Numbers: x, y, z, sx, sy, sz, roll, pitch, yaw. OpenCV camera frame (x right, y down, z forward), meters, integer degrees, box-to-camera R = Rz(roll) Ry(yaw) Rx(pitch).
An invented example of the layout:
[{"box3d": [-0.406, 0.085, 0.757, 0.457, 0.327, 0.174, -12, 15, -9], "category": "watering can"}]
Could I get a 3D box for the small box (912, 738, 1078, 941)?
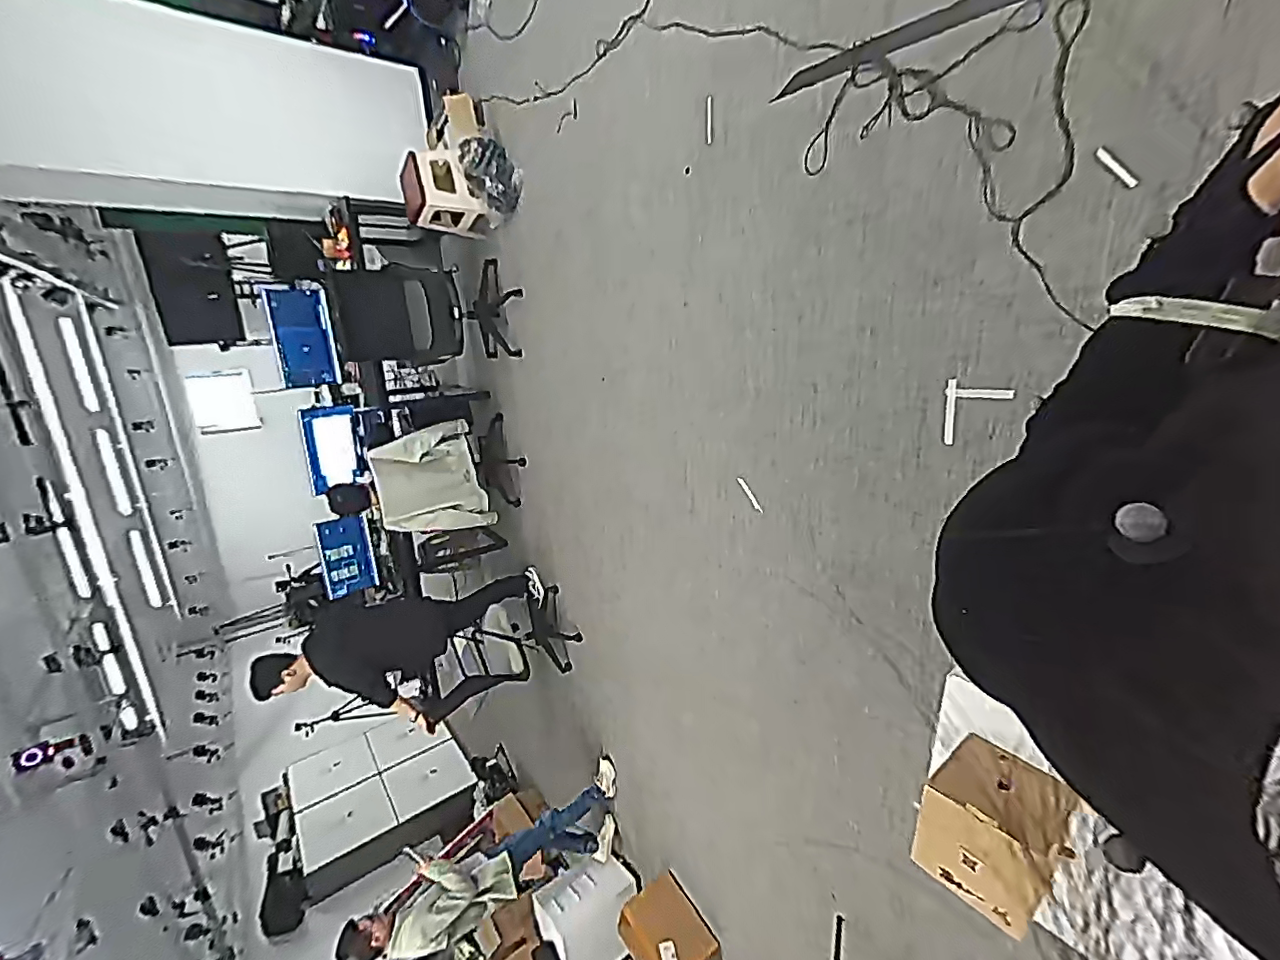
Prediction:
[{"box3d": [0.571, 0.560, 0.872, 0.168, 0.176, 0.179, 21, 118, 49], "category": "small box"}]
